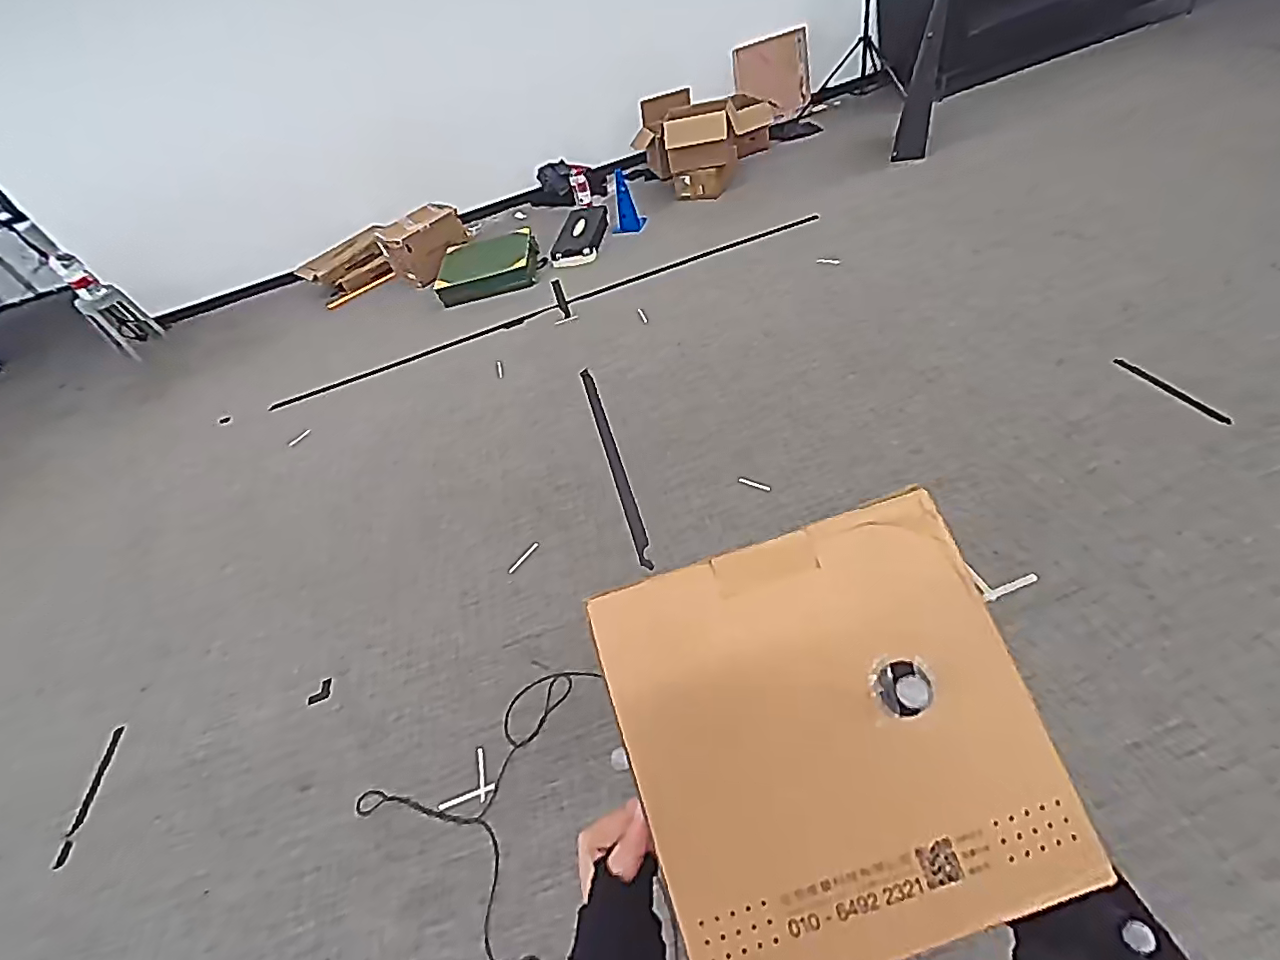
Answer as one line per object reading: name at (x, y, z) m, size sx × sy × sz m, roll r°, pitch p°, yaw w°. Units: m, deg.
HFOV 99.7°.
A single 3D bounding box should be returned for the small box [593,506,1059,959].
small box at (0.086, 0.133, 0.319) m, size 0.168 × 0.179 × 0.176 m, roll -19°, pitch 76°, yaw 1°
